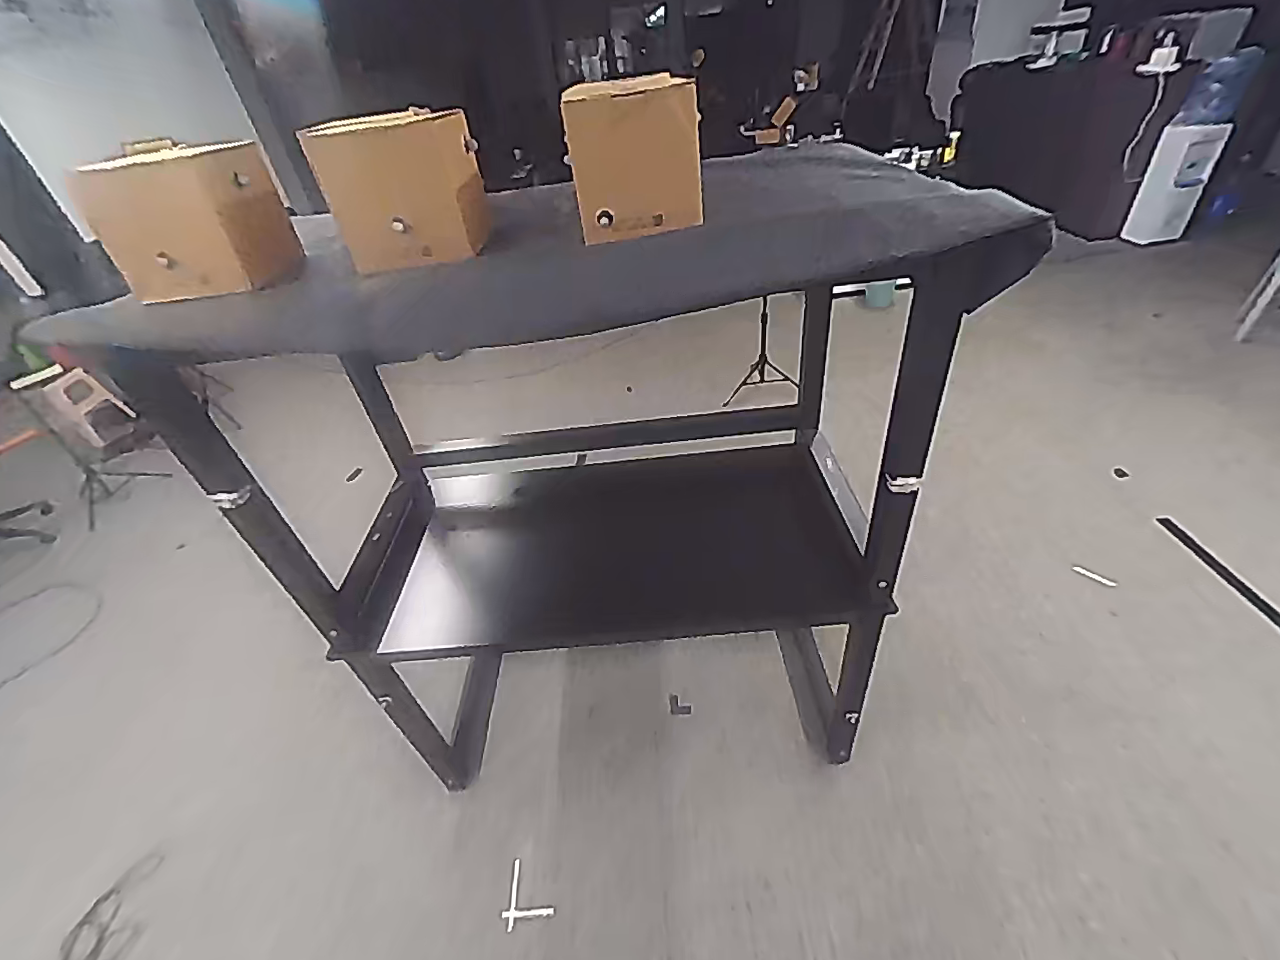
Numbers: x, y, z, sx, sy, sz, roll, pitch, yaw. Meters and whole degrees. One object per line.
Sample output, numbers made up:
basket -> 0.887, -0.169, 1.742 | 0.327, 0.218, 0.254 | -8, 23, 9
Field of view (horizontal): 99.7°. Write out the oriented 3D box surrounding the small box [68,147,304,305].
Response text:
small box -> -0.623, -0.366, 0.778 | 0.168, 0.176, 0.179 | -7, 38, 0

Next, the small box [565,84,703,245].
small box -> -0.005, -0.441, 0.764 | 0.168, 0.176, 0.179 | -7, 38, 1

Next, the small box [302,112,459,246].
small box -> -0.437, -0.528, 0.950 | 0.179, 0.176, 0.168 | -7, 38, 1
